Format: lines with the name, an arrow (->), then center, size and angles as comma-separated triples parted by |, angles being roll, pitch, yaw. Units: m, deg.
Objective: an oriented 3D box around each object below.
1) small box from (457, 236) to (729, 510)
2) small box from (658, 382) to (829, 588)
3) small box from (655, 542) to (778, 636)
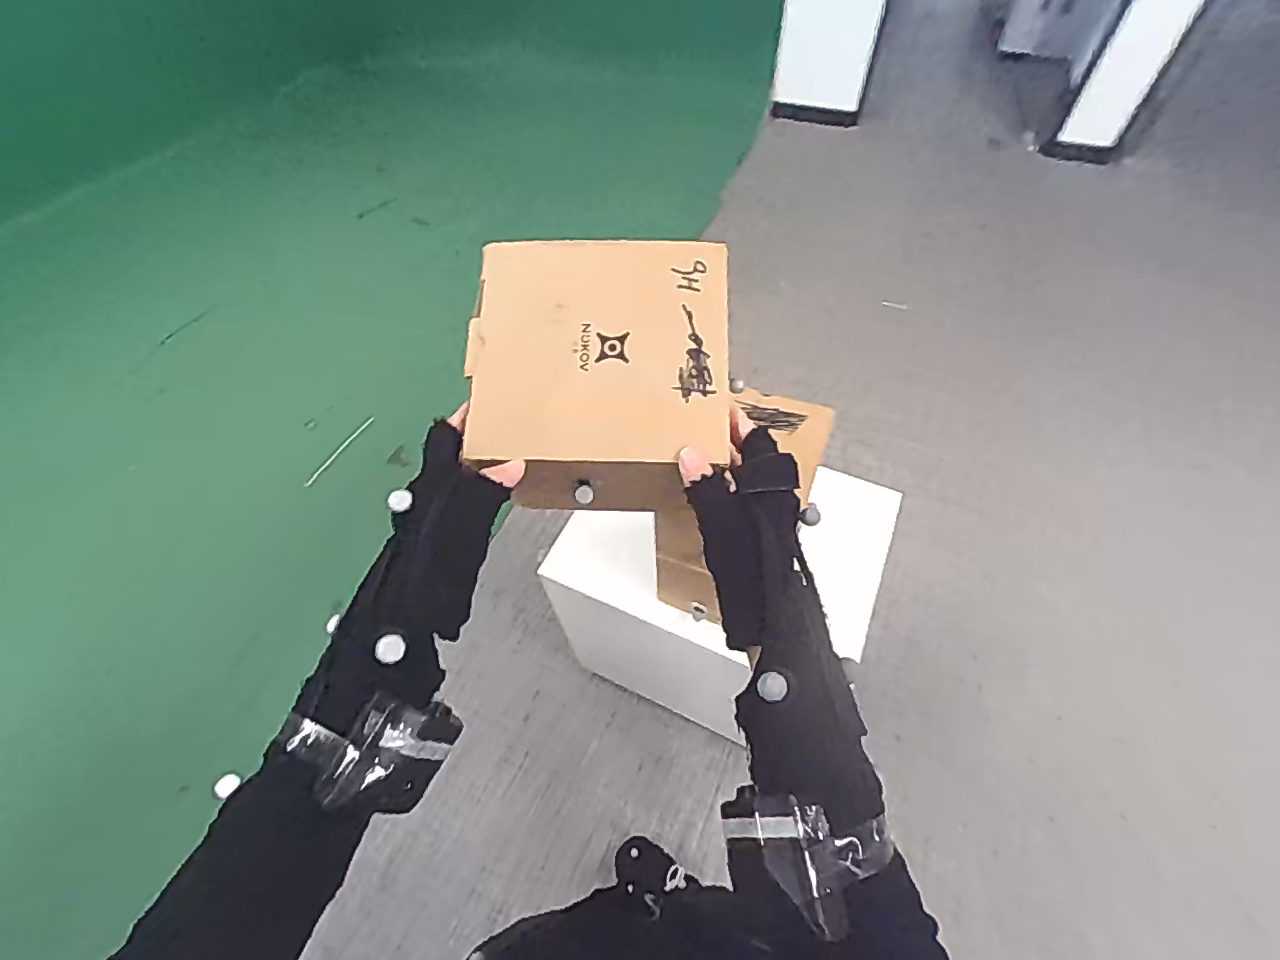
small box -> -0.023, -0.072, 0.441 | 0.179, 0.176, 0.168 | 2, 76, 4
small box -> 0.121, 0.004, 0.670 | 0.168, 0.176, 0.179 | 14, 56, 13
small box -> 0.130, 0.103, 0.801 | 0.168, 0.176, 0.179 | 17, 59, 16
